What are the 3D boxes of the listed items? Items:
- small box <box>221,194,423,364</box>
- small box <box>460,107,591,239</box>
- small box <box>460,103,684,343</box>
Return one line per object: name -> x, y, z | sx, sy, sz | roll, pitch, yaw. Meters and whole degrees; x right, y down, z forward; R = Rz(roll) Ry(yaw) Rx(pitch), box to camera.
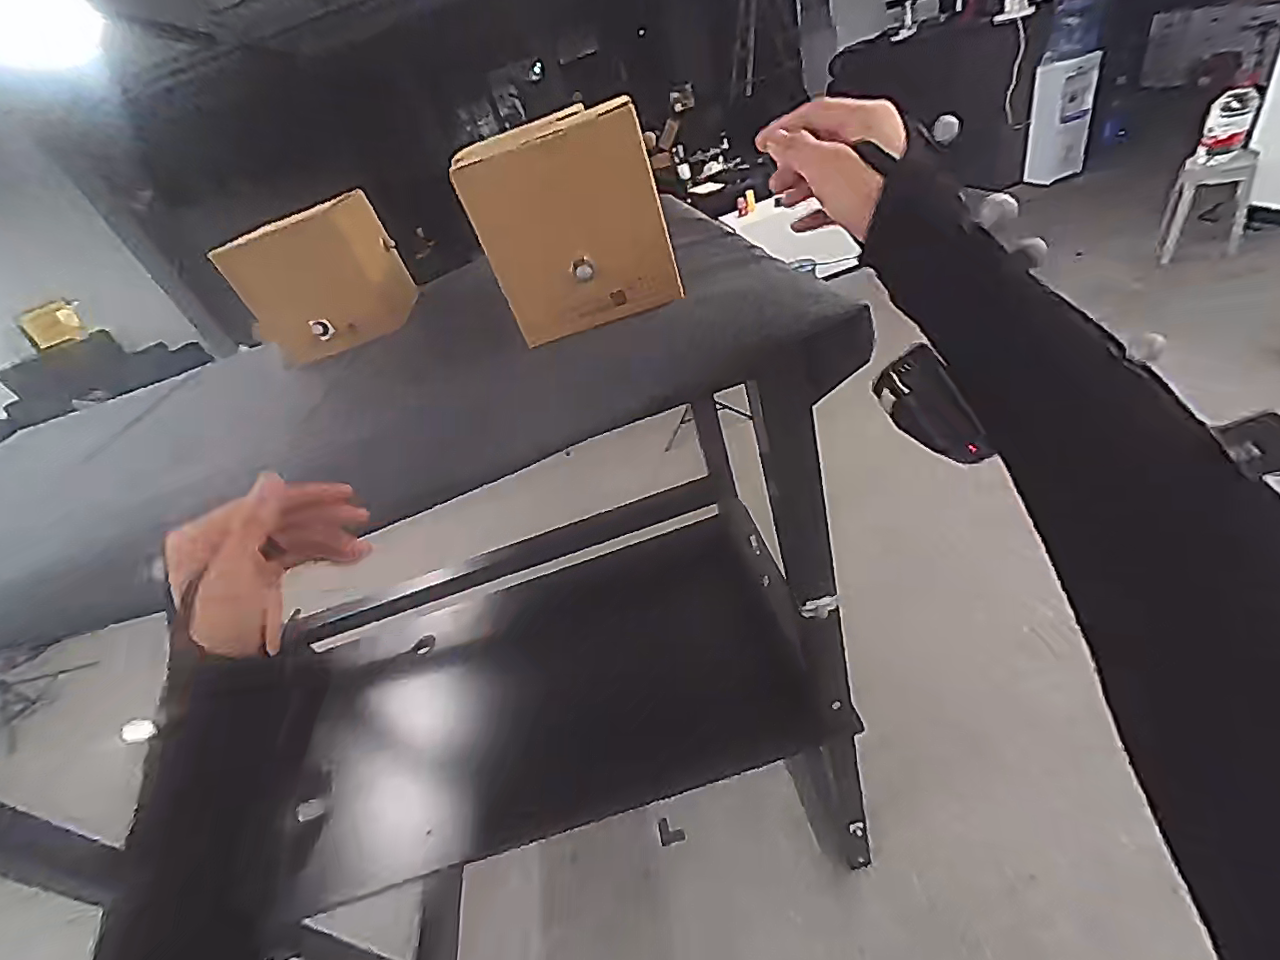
small box -> -0.442, -0.293, 0.789 | 0.168, 0.176, 0.179 | -20, 36, 2
small box -> -0.118, -0.376, 0.737 | 0.168, 0.176, 0.179 | -16, 38, 7
small box -> -0.058, -0.266, 0.565 | 0.168, 0.176, 0.179 | -16, 36, 8
